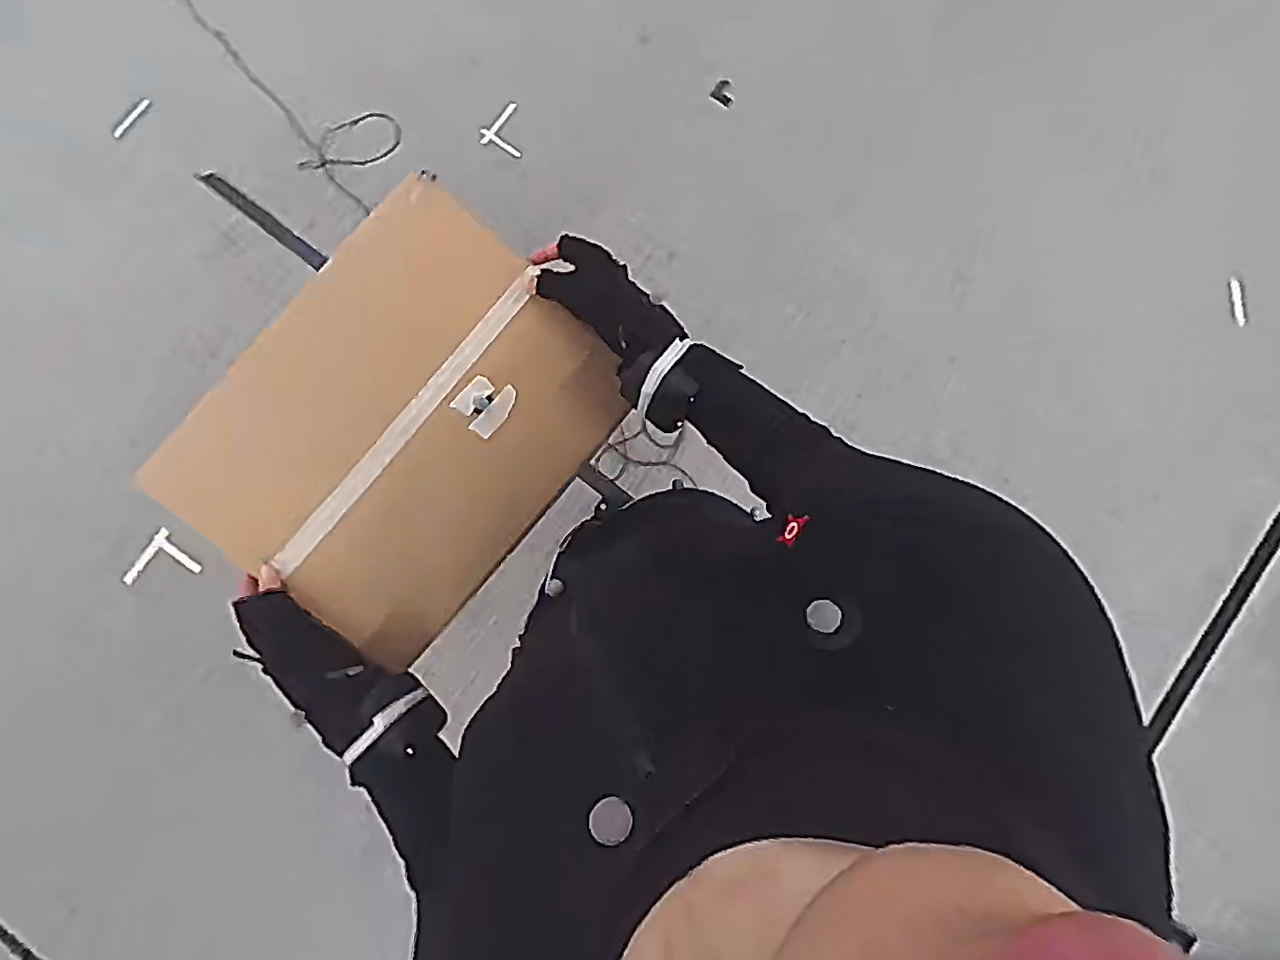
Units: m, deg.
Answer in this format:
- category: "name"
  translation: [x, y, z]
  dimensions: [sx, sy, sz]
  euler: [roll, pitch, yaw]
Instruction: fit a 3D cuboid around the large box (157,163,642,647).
- category: "large box"
  translation: [-0.251, -0.076, 0.698]
  dimensions: [0.320, 0.320, 0.408]
  euler: [41, 87, -7]
